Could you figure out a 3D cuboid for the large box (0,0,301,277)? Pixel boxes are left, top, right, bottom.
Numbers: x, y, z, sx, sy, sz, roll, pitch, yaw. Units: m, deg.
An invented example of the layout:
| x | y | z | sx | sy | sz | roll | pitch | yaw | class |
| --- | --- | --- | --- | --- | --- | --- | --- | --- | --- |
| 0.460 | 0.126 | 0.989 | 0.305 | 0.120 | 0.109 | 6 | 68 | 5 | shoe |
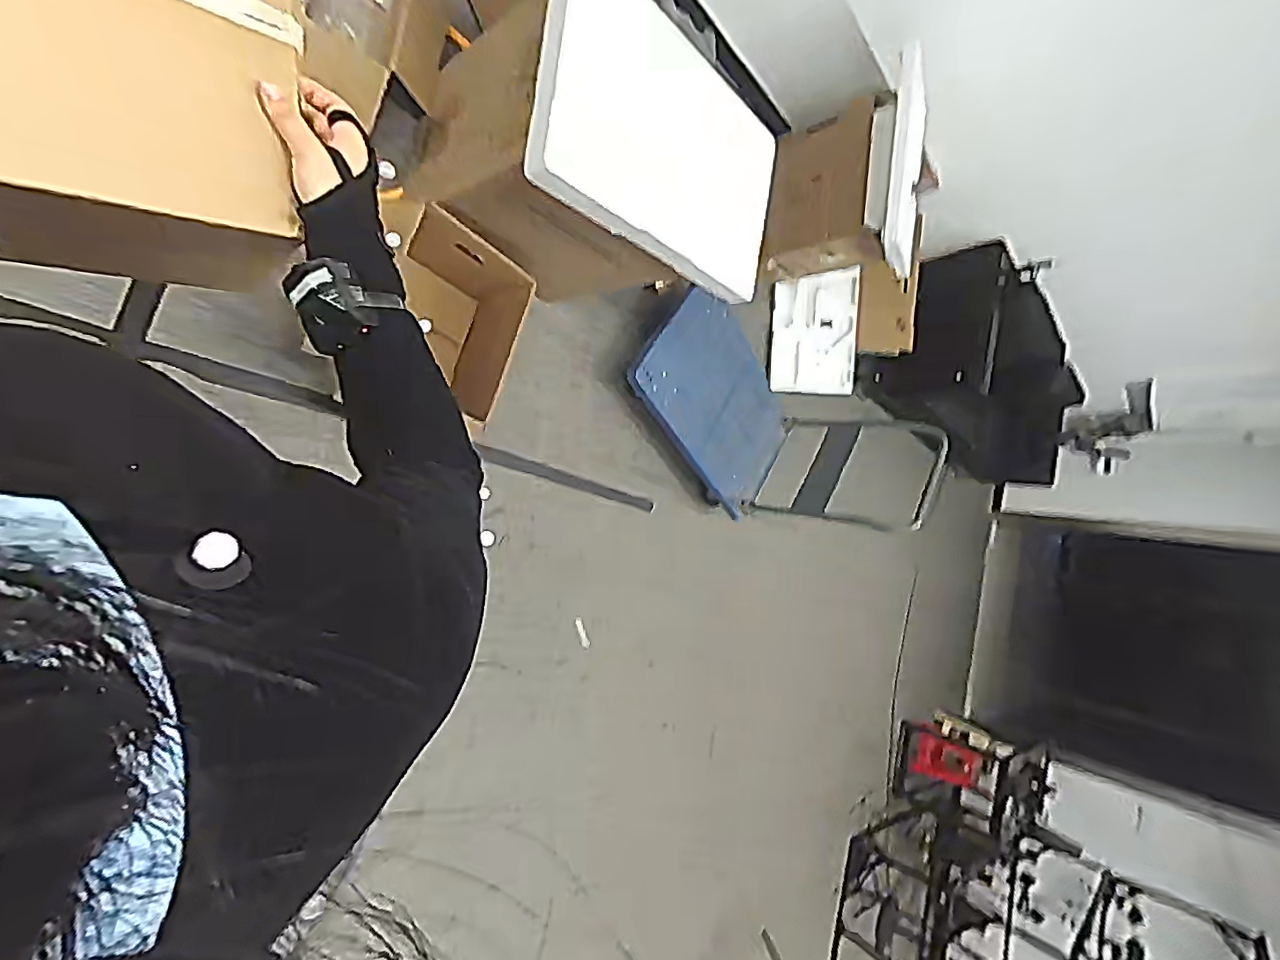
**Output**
| x | y | z | sx | sy | sz | roll | pitch | yaw | class |
| --- | --- | --- | --- | --- | --- | --- | --- | --- | --- |
| -0.533 | -0.362 | 0.416 | 0.408 | 0.320 | 0.320 | -7 | 100 | -41 | large box |
